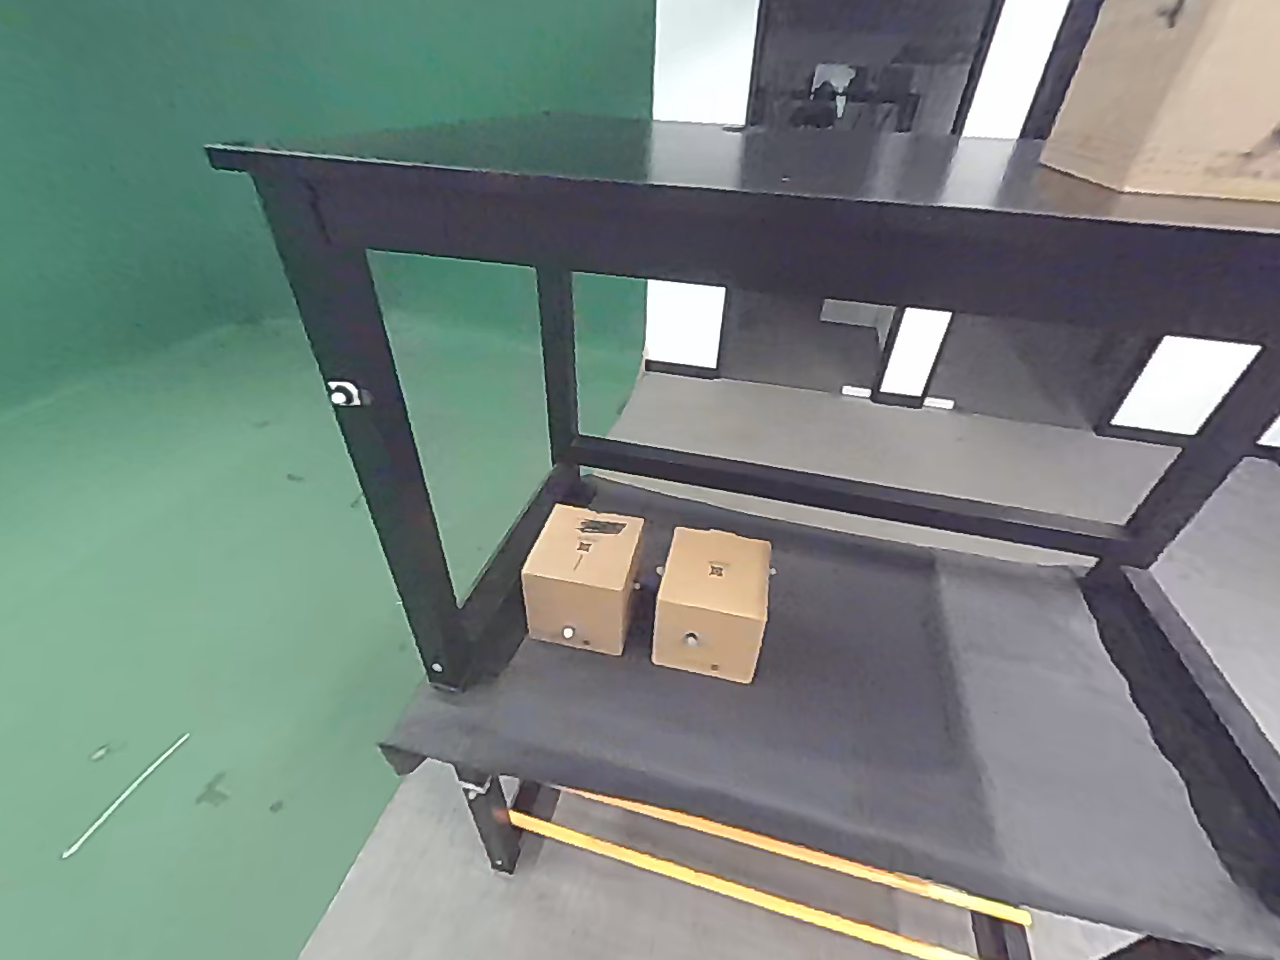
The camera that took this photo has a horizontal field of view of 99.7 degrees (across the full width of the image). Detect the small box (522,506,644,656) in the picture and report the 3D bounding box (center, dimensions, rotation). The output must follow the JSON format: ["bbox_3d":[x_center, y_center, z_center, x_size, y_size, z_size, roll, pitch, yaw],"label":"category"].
[{"bbox_3d":[-0.093,0.173,0.944,0.168,0.176,0.179,8,37,9],"label":"small box"}]
